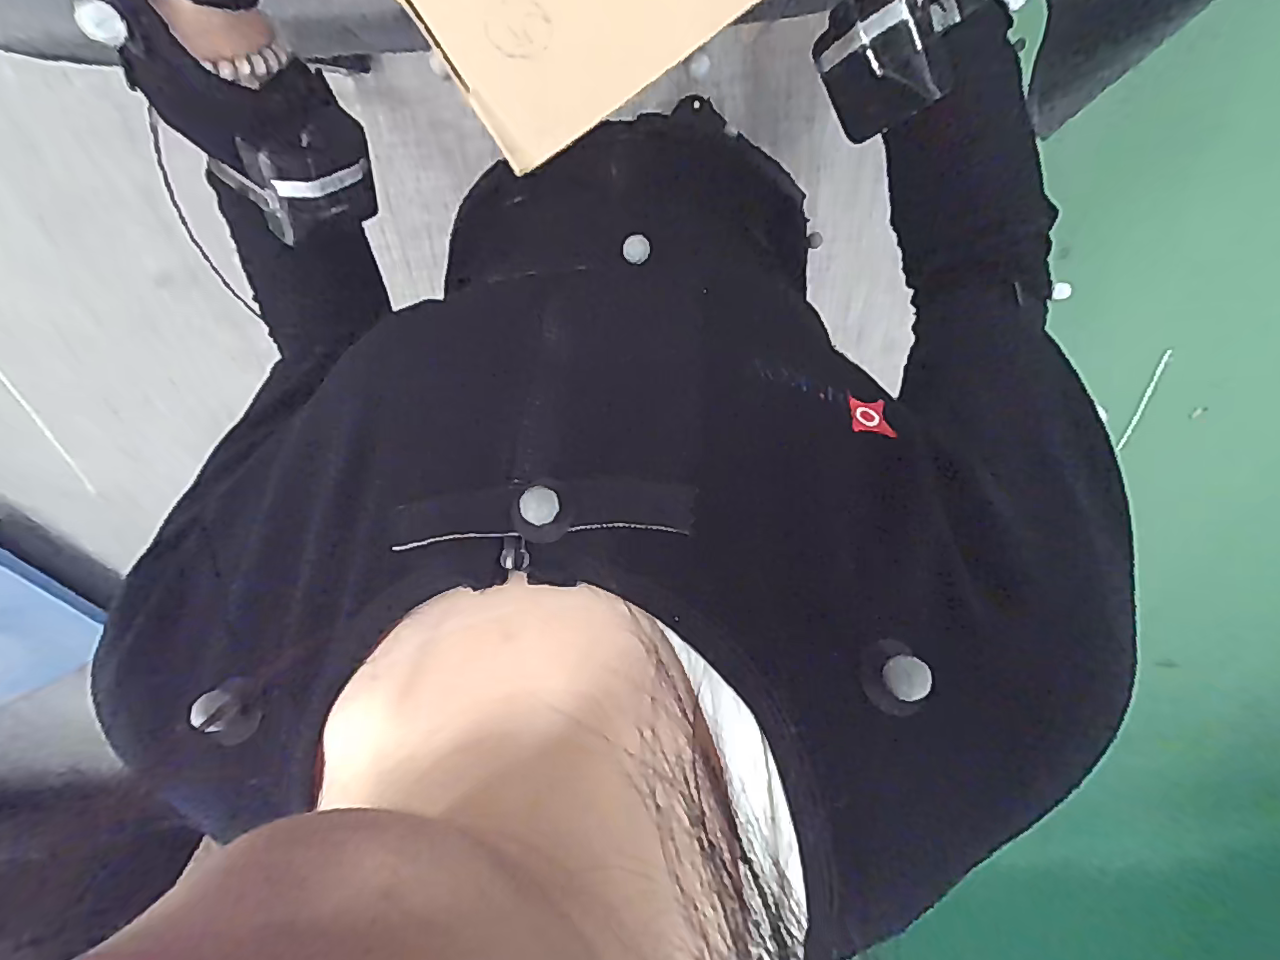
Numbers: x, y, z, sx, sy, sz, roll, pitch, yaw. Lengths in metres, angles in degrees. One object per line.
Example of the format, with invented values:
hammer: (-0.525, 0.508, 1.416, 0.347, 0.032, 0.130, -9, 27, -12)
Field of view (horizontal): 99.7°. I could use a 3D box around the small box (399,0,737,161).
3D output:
small box: (-0.025, -0.256, 0.201, 0.179, 0.176, 0.168, -31, 126, 13)
